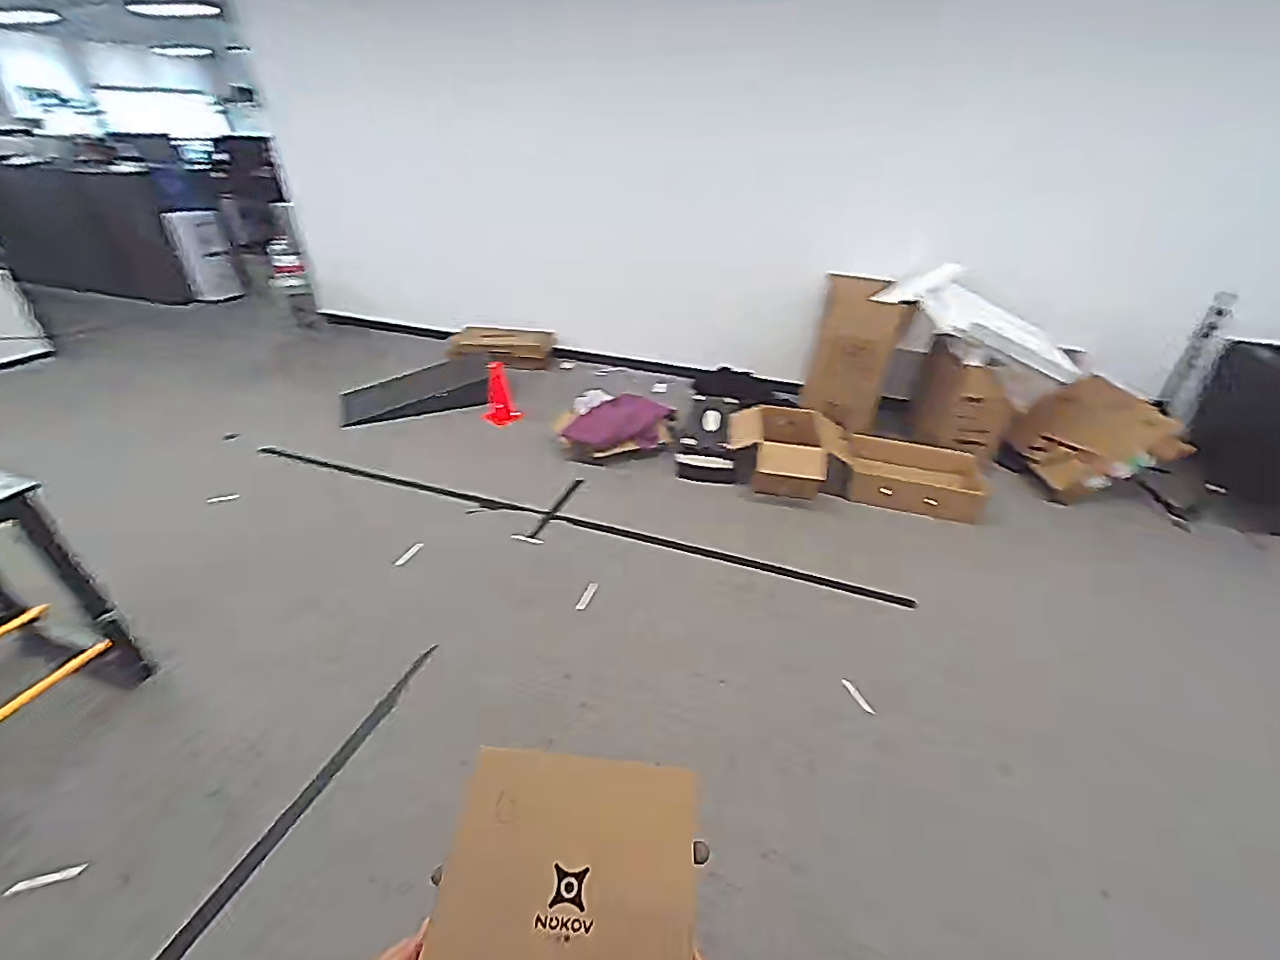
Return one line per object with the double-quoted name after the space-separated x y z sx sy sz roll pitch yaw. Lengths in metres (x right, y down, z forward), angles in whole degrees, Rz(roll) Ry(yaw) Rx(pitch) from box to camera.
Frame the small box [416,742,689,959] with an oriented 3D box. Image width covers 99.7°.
-0.057 0.323 0.407 0.168 0.176 0.179 5 47 -1 "small box"
